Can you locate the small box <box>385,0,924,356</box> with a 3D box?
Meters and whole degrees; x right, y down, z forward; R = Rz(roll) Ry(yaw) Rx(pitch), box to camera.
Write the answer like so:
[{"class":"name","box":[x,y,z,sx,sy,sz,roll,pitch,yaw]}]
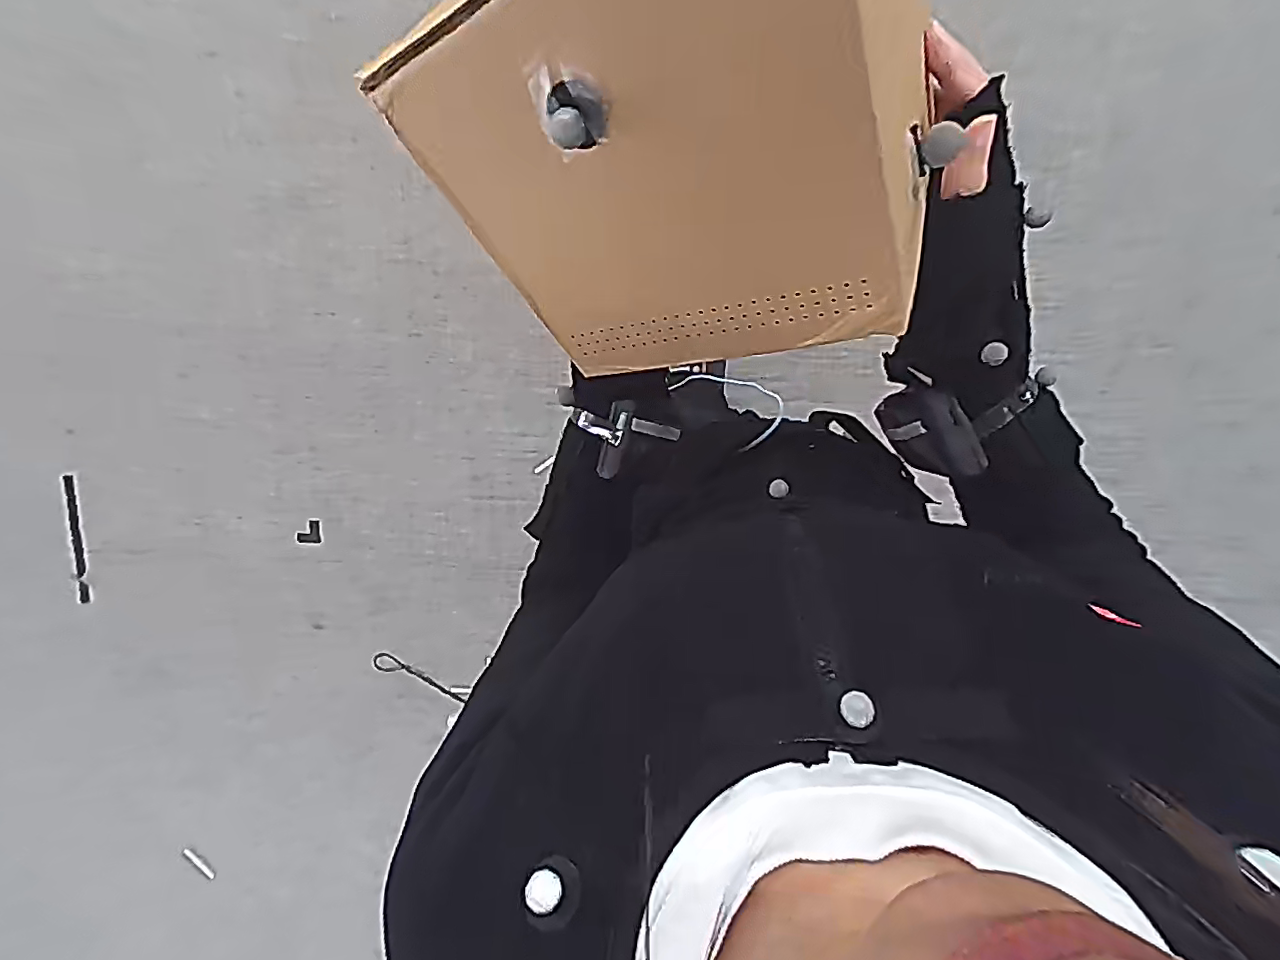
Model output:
[{"class":"small box","box":[0.026,-0.180,0.267,0.179,0.168,0.176,1,147,35]}]
